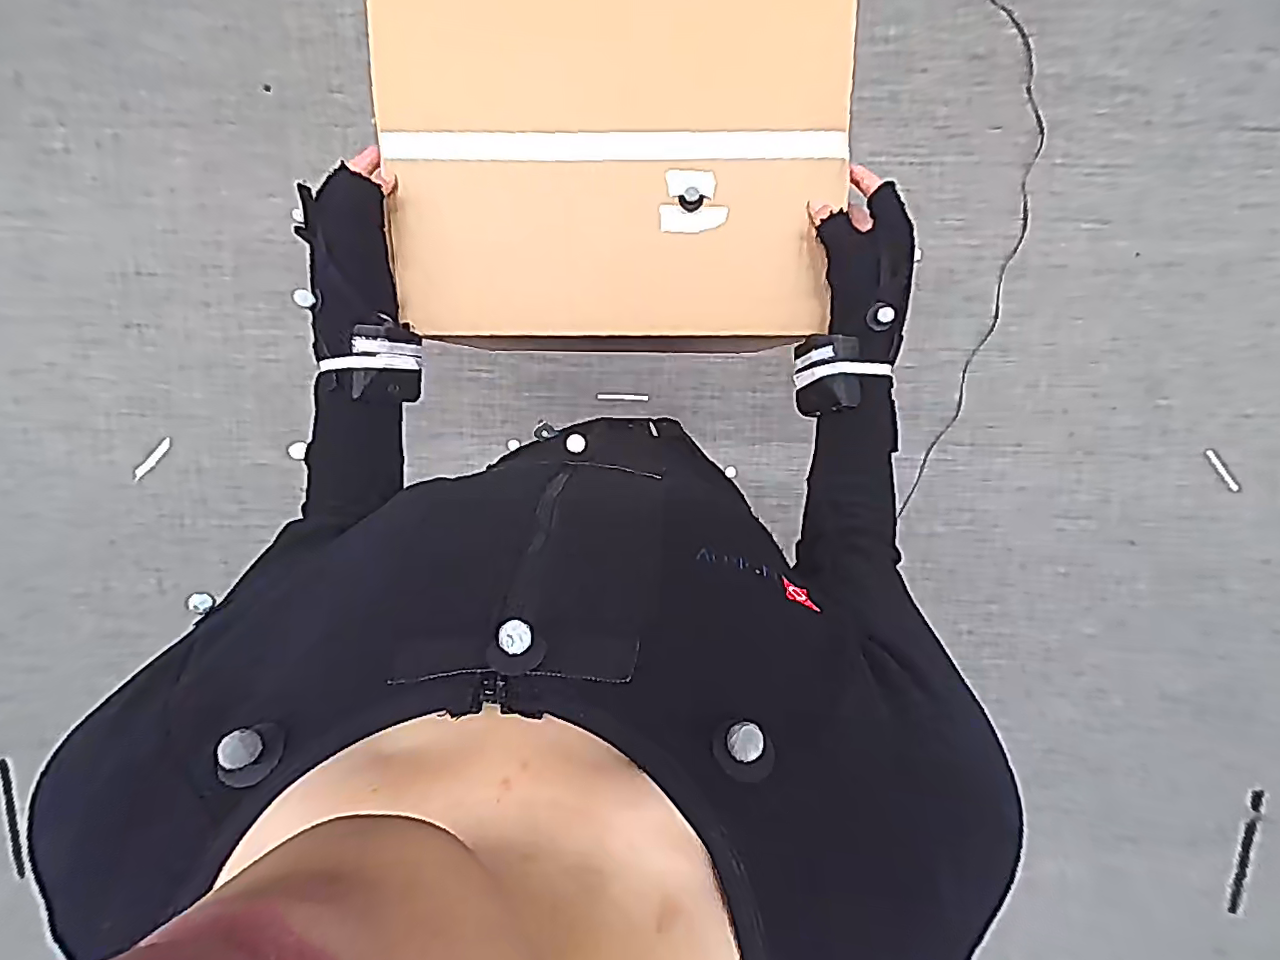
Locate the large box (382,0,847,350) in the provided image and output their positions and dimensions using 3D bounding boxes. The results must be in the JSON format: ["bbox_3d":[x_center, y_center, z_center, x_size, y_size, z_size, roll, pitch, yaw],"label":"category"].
[{"bbox_3d":[-0.024,-0.322,0.626,0.408,0.320,0.320,0,101,-1],"label":"large box"}]
